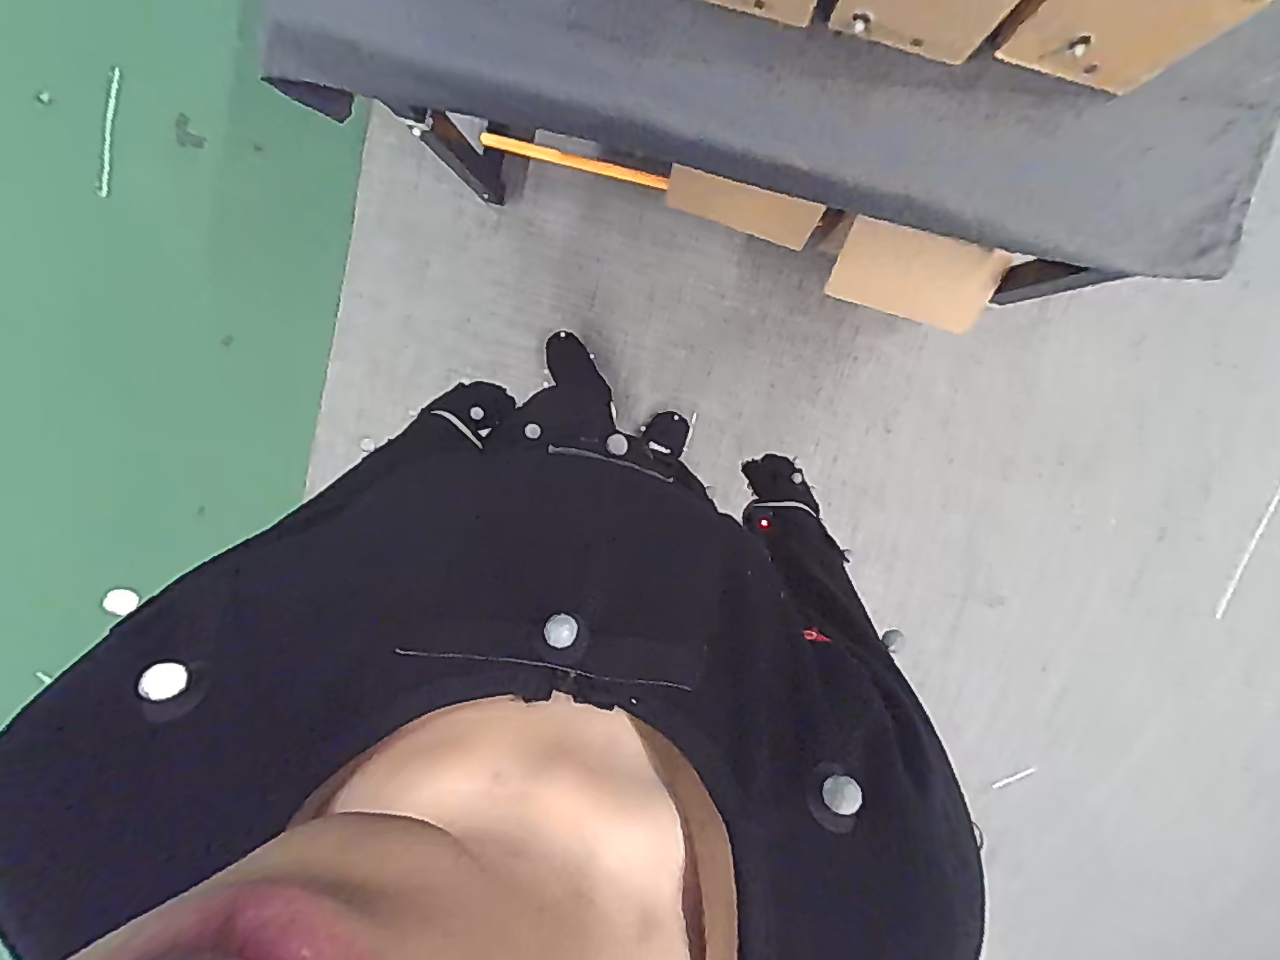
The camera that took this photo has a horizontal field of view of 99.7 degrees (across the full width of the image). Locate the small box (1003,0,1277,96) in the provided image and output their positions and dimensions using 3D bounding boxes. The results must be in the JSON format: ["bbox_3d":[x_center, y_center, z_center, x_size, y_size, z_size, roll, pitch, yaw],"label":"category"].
[{"bbox_3d":[0.514,-0.539,0.543,0.168,0.176,0.179,16,101,0],"label":"small box"}]
